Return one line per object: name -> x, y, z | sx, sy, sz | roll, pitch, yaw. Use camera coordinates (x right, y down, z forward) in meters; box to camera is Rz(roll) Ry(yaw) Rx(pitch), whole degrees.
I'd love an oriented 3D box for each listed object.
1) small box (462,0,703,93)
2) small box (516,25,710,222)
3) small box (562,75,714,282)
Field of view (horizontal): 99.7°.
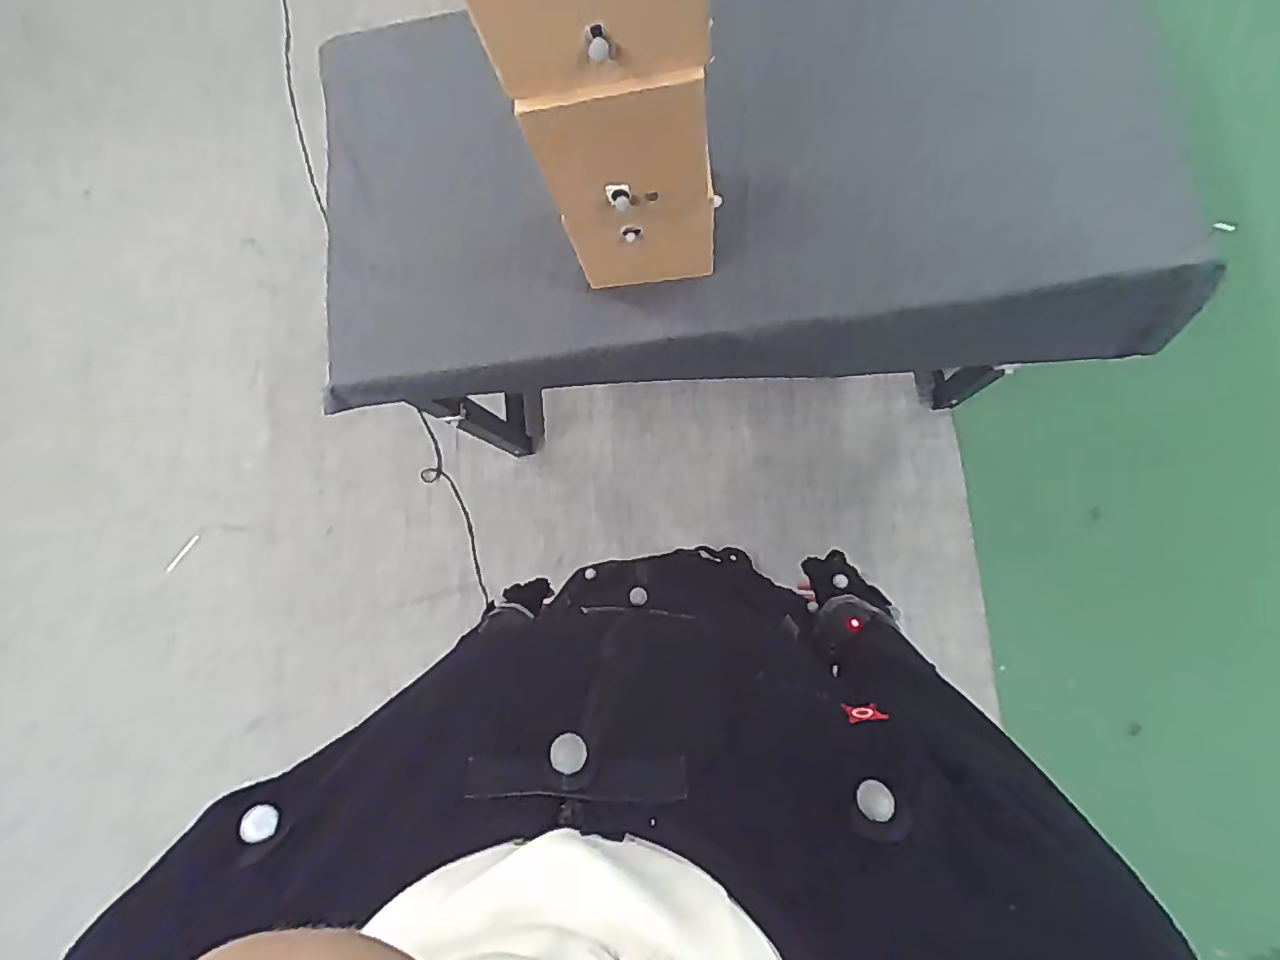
small box -> -0.045, -0.424, 0.387 | 0.179, 0.176, 0.168 | -4, 81, 9
small box -> -0.019, -0.397, 0.546 | 0.168, 0.176, 0.179 | -5, 82, 9
small box -> 0.005, -0.376, 0.704 | 0.179, 0.176, 0.168 | -3, 82, 7
